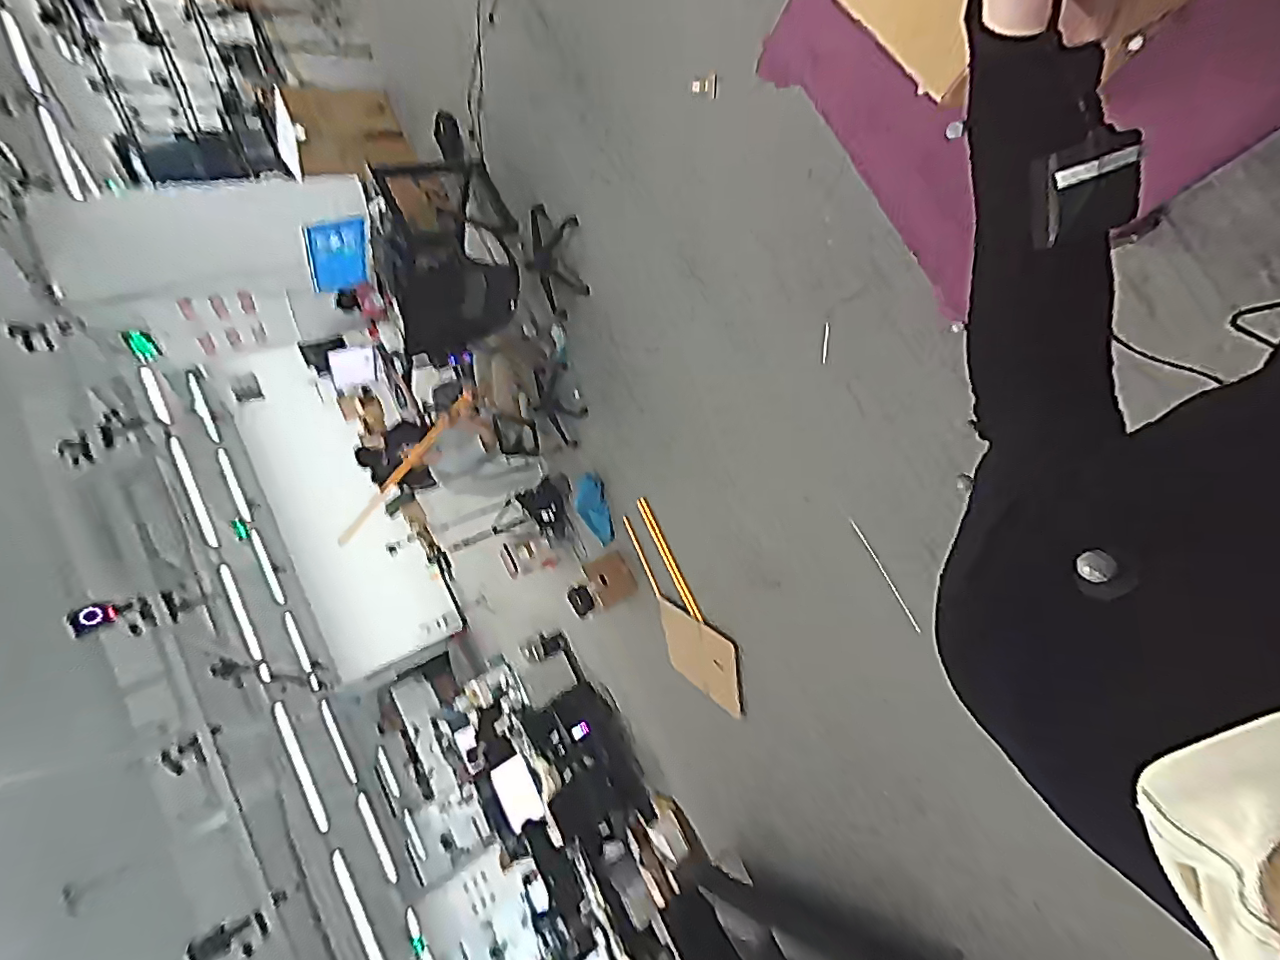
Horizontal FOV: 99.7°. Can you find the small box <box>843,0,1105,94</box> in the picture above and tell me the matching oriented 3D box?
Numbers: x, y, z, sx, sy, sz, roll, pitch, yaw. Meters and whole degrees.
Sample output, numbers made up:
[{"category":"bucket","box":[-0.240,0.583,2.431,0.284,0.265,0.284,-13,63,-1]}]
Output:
[{"category":"small box","box":[0.334,-0.499,0.512,0.179,0.176,0.168,58,149,15]}]

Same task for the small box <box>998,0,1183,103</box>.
[{"category":"small box","box":[0.466,-0.550,0.593,0.179,0.176,0.168,60,150,13]}]
